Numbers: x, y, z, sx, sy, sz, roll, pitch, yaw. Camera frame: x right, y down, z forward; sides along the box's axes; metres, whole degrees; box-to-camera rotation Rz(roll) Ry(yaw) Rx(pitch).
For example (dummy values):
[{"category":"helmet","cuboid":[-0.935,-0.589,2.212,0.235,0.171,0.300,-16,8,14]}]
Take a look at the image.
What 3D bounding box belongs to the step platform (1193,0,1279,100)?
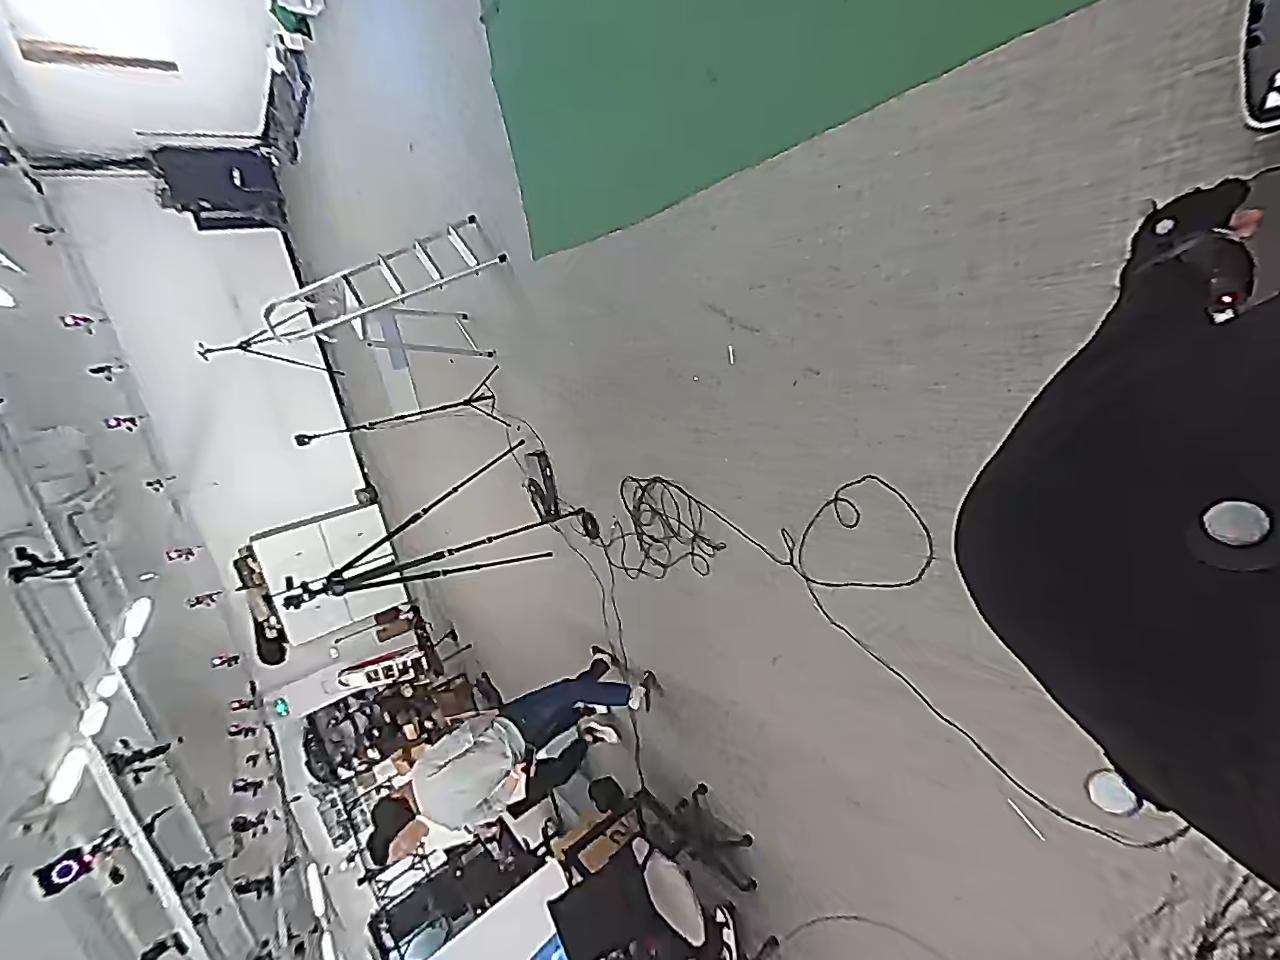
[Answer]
[{"category":"step platform","cuboid":[1.055,-0.684,0.541,0.684,0.204,0.286,8,114,53]}]
